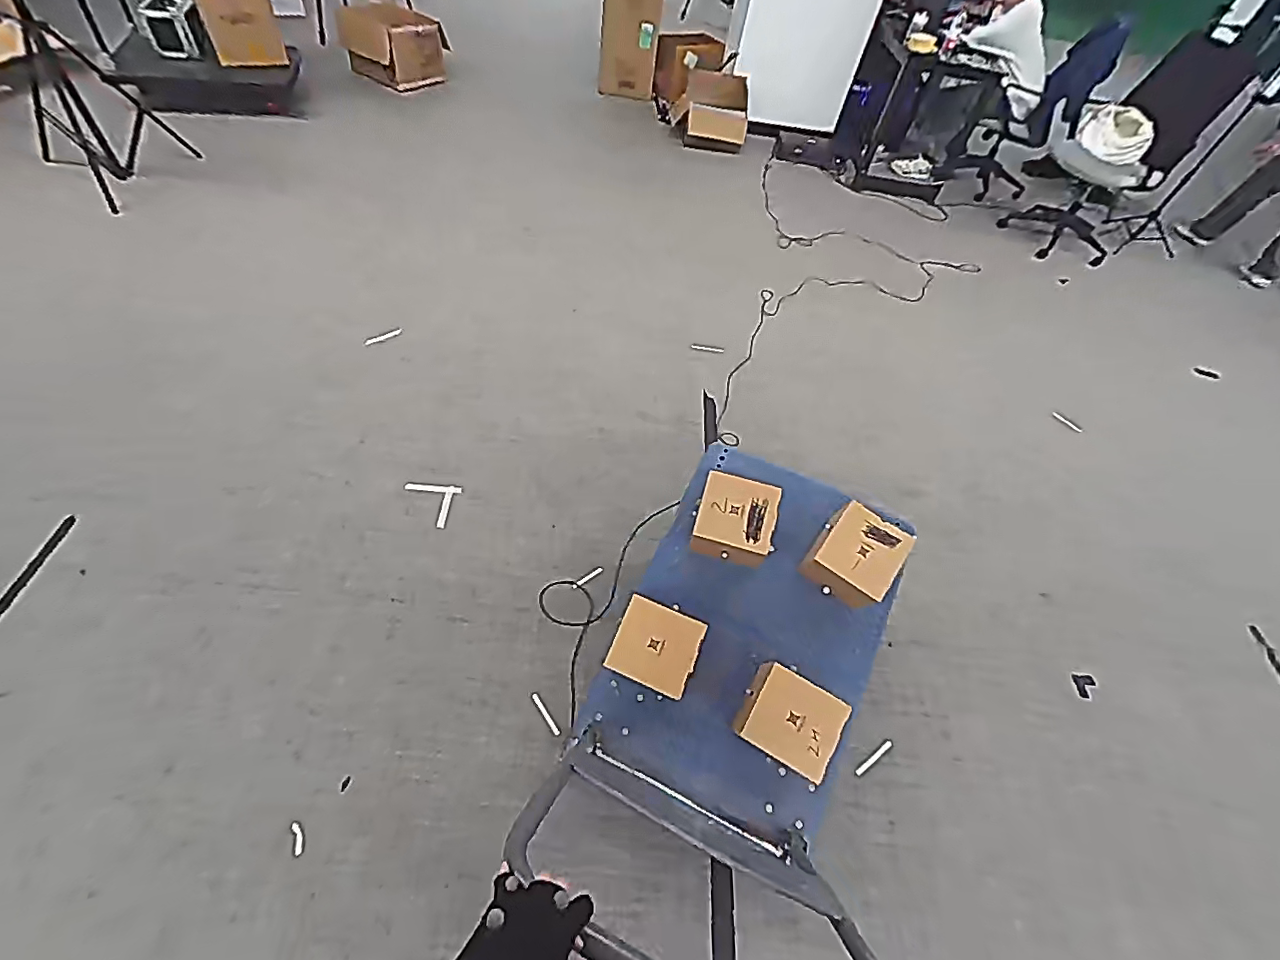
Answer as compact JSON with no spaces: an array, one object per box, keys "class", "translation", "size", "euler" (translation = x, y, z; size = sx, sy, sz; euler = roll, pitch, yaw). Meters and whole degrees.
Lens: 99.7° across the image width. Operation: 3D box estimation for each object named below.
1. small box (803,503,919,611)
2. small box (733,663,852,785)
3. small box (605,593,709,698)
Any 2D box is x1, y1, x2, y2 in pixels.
[{"class":"small box","translation":[0.508,0.187,1.272],"size":[0.168,0.176,0.179],"euler":[36,76,13]},{"class":"small box","translation":[0.316,0.515,1.158],"size":[0.179,0.176,0.168],"euler":[30,74,12]},{"class":"small box","translation":[0.036,0.375,1.218],"size":[0.179,0.176,0.168],"euler":[23,72,8]}]
